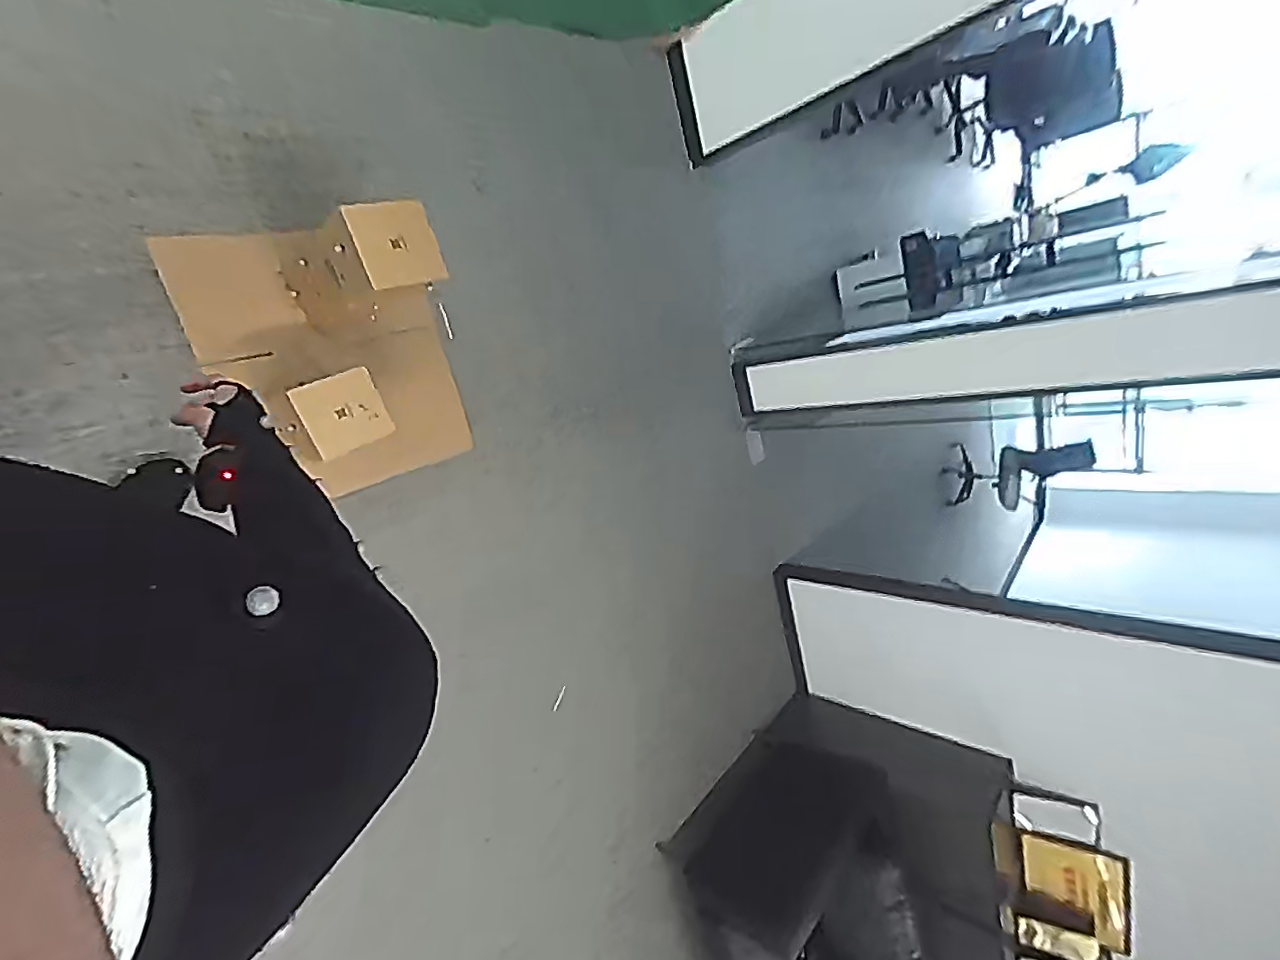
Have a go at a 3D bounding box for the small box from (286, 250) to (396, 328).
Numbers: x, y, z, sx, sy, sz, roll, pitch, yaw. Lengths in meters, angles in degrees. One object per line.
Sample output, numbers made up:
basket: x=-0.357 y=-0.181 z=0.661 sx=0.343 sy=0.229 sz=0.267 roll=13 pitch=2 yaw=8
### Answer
small box: x=-0.782 y=-0.511 z=1.412 sx=0.179 sy=0.176 sz=0.168 roll=-35 pitch=116 yaw=-37

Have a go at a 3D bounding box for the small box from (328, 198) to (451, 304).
small box: x=-0.553 y=-0.496 z=1.180 sx=0.179 sy=0.176 sz=0.168 roll=-31 pitch=112 yaw=-39

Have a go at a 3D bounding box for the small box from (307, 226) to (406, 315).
small box: x=-0.668 y=-0.505 z=1.295 sx=0.179 sy=0.176 sz=0.168 roll=-32 pitch=113 yaw=-39

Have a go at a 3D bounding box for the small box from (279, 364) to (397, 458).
small box: x=-0.710 y=-0.158 z=1.262 sx=0.179 sy=0.176 sz=0.168 roll=-34 pitch=115 yaw=-38
